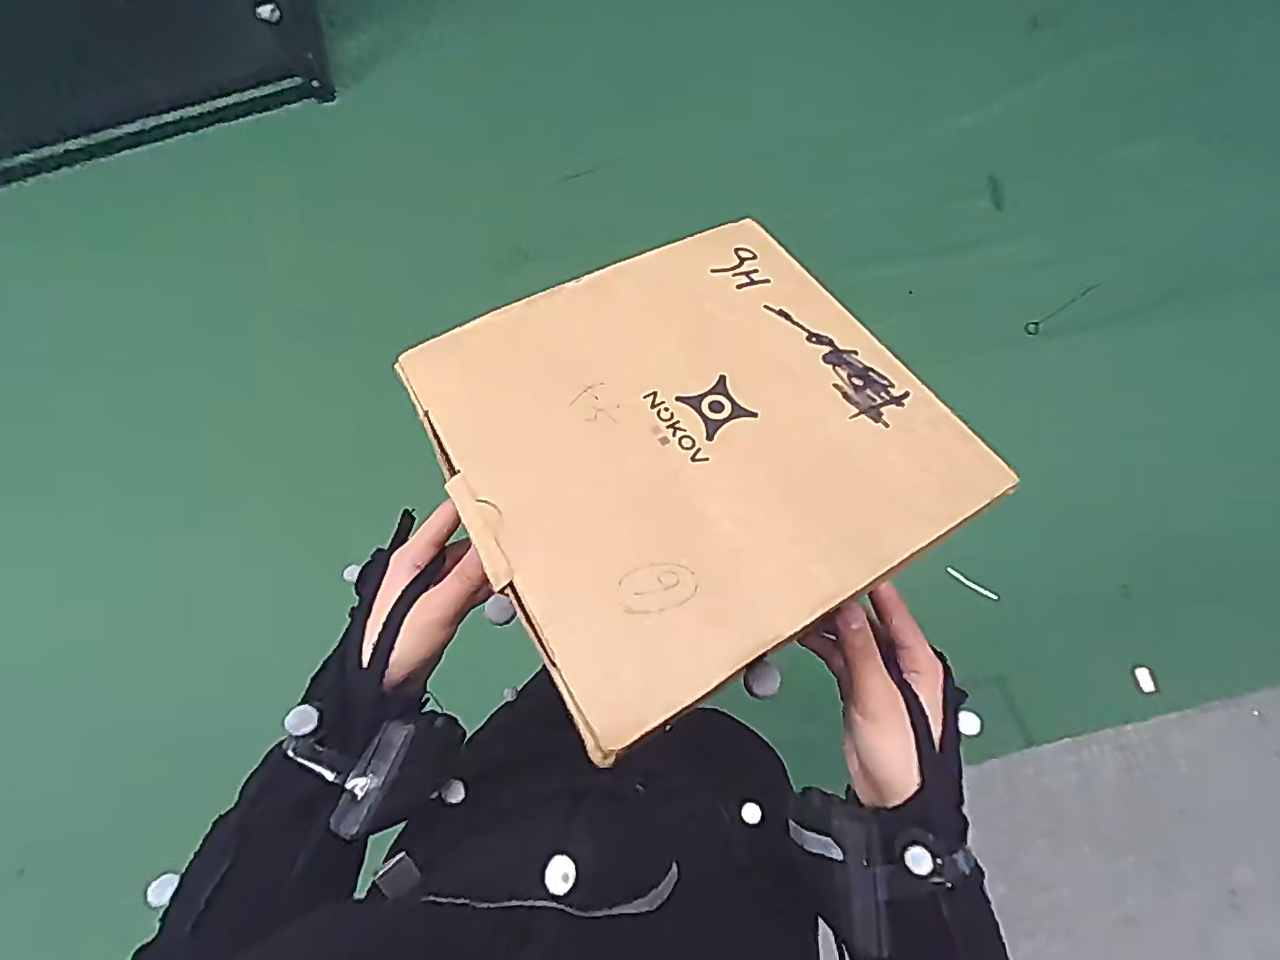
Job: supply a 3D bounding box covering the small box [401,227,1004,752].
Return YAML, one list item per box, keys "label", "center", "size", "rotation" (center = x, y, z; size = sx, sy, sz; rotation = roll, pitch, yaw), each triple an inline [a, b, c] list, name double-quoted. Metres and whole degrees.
- label: "small box"
  center: [0.017, 0.016, 0.274]
  size: [0.179, 0.176, 0.168]
  rotation: [-27, 66, -15]
